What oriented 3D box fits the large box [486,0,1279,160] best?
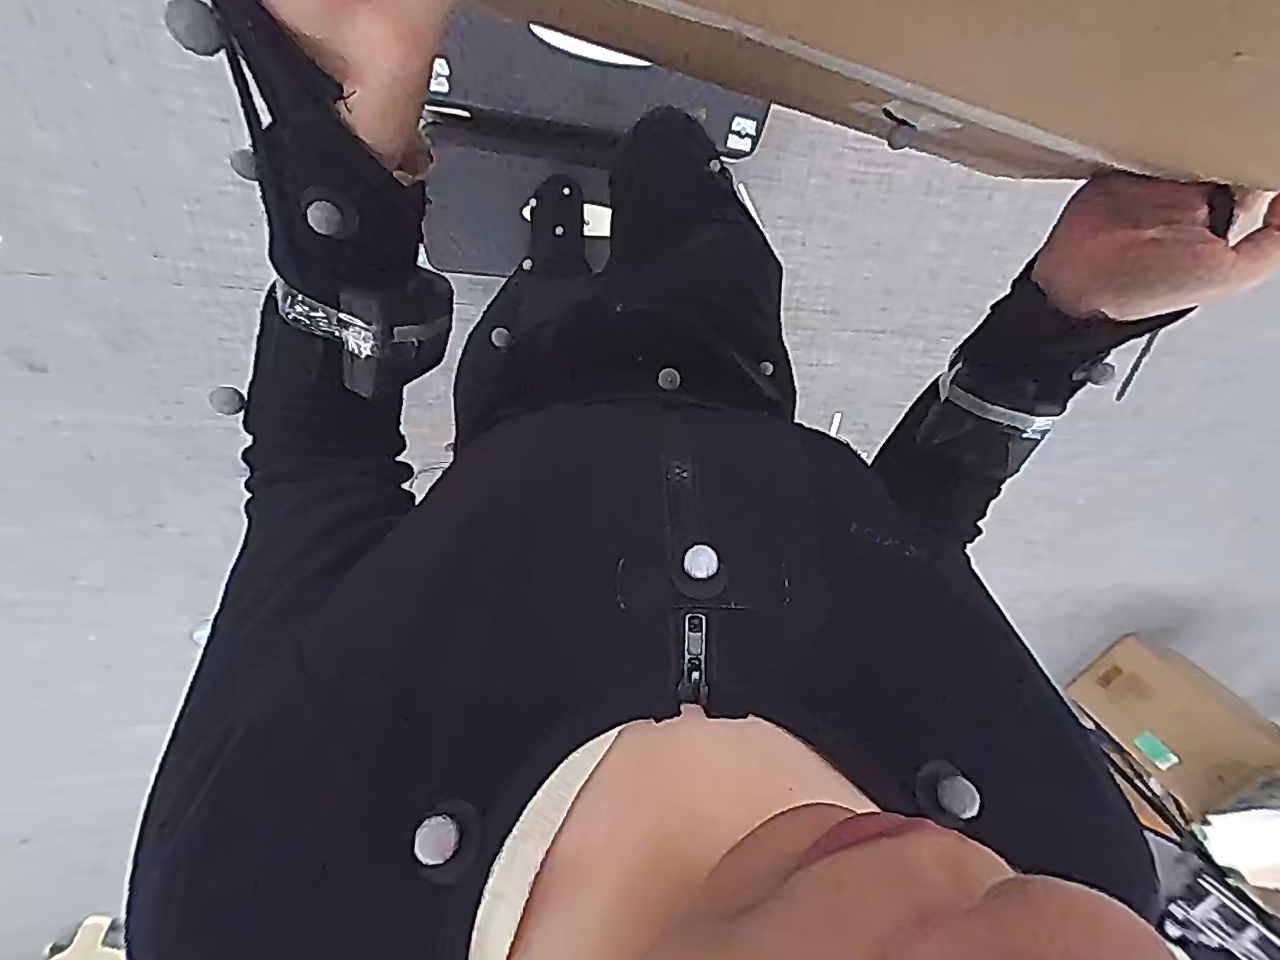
[{"bbox_3d":[0.104,-0.313,0.144,0.408,0.320,0.320,8,121,-11],"label":"large box"}]

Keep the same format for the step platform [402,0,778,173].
[{"bbox_3d":[-0.074,-0.808,1.007,0.684,0.204,0.286,5,119,-16],"label":"step platform"}]
